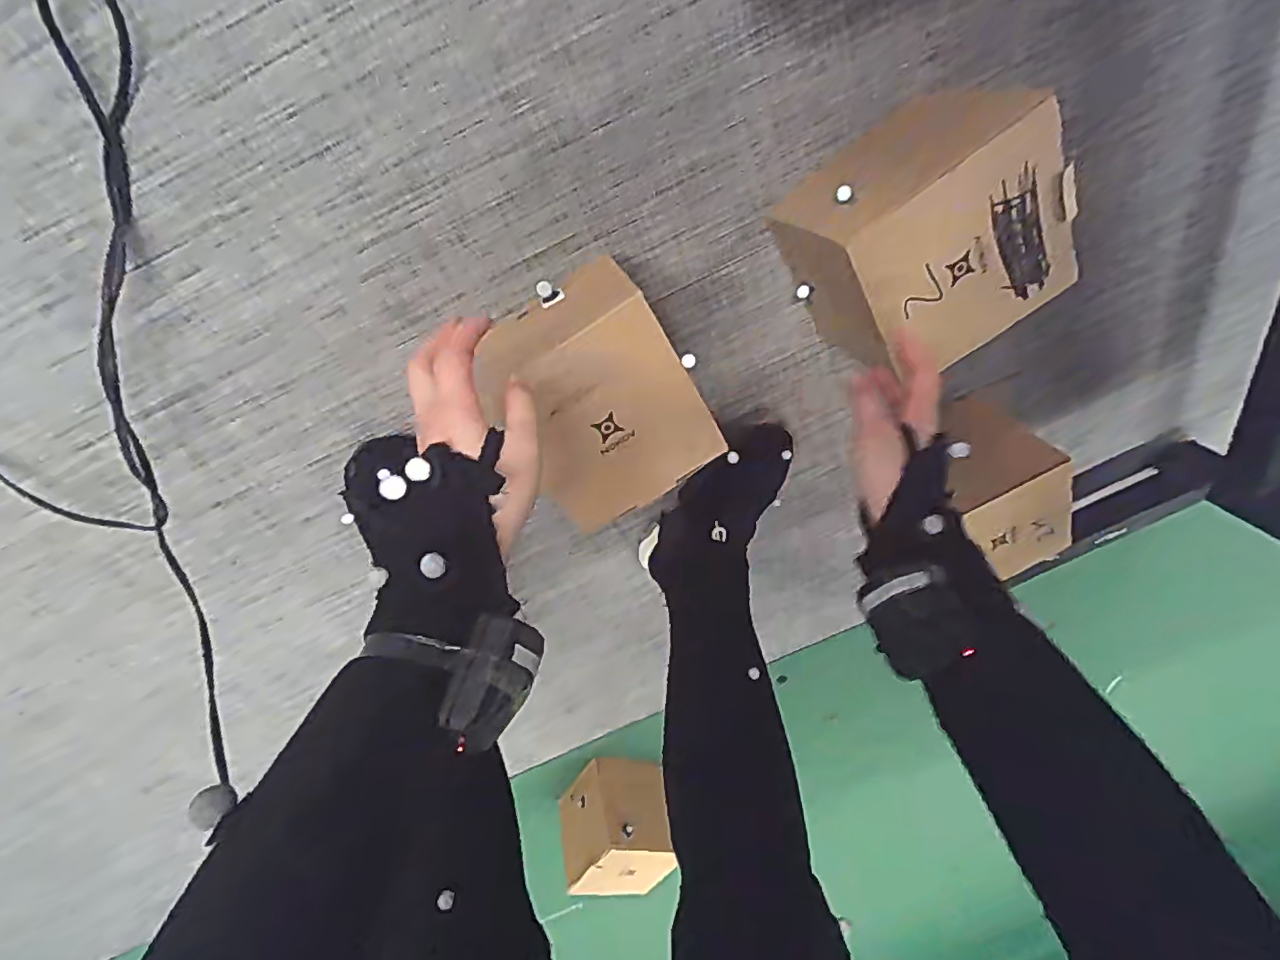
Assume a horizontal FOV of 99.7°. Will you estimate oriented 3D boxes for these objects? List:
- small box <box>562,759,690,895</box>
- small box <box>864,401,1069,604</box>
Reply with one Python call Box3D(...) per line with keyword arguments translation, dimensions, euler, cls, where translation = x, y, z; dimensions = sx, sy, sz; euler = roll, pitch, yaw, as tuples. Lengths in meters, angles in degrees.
Box3D(translation=(-0.035, 0.667, 1.043), dimensions=(0.179, 0.176, 0.168), euler=(22, 116, -25), cls="small box")
Box3D(translation=(0.426, 0.026, 0.727), dimensions=(0.179, 0.176, 0.168), euler=(-30, 126, 7), cls="small box")
